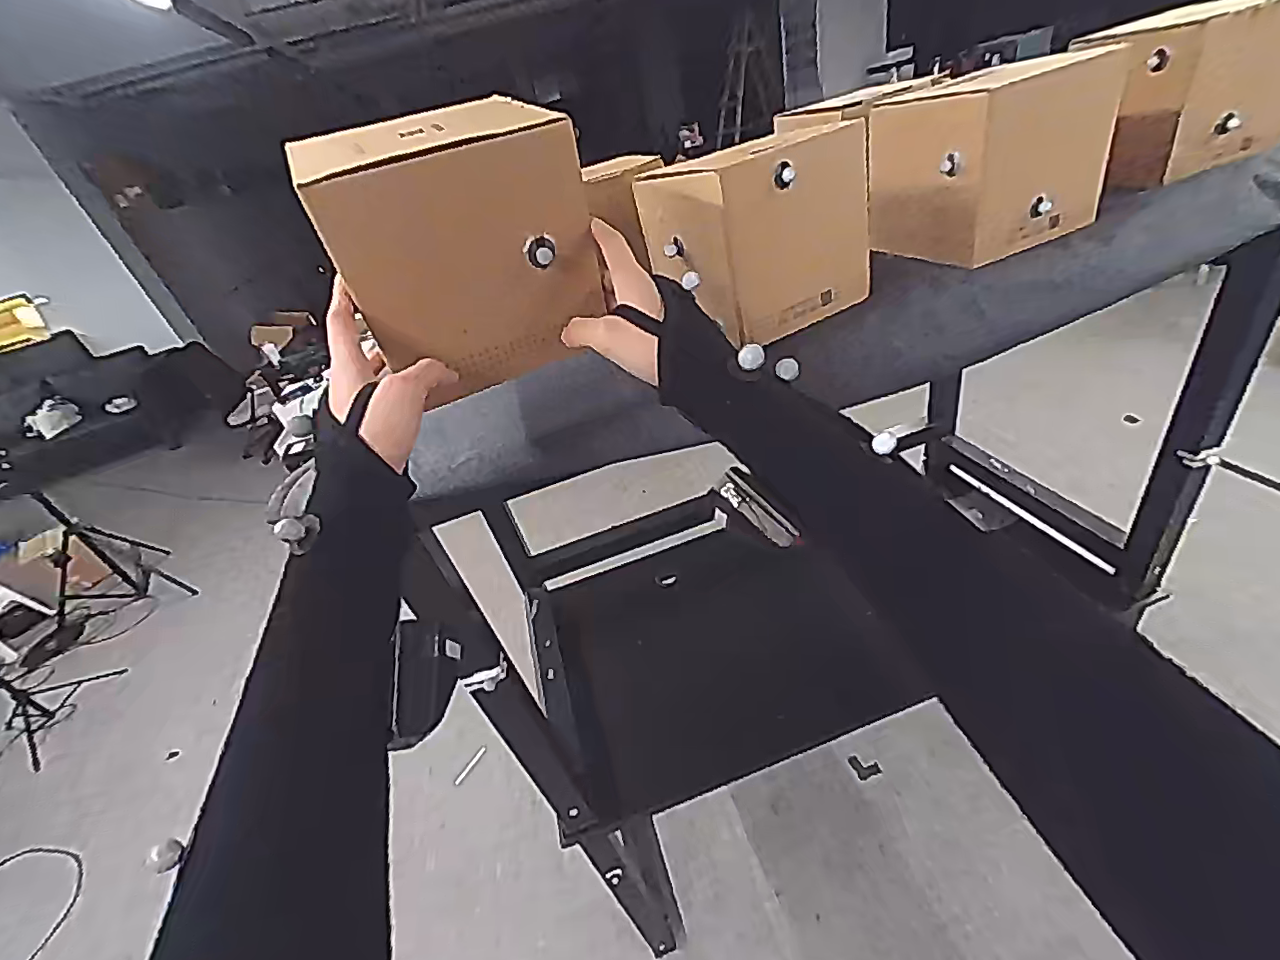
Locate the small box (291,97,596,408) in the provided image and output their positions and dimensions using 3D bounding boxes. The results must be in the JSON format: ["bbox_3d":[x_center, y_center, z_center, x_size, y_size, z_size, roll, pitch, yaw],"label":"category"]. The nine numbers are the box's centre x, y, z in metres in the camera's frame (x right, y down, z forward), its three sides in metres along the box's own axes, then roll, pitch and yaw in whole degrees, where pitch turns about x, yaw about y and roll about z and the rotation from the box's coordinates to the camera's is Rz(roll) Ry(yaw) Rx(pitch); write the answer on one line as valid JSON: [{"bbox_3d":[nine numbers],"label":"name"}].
[{"bbox_3d":[-0.146,-0.187,0.439,0.179,0.176,0.168,-25,45,-16],"label":"small box"}]

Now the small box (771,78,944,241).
[{"bbox_3d":[0.319,-0.472,0.811,0.168,0.176,0.179,-21,34,-8],"label":"small box"}]

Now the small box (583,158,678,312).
[{"bbox_3d":[-0.058,-0.361,0.802,0.168,0.176,0.179,-21,35,-8],"label":"small box"}]

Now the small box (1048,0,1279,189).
[{"bbox_3d":[0.672,-0.486,0.692,0.168,0.176,0.179,-17,34,-2],"label":"small box"}]
